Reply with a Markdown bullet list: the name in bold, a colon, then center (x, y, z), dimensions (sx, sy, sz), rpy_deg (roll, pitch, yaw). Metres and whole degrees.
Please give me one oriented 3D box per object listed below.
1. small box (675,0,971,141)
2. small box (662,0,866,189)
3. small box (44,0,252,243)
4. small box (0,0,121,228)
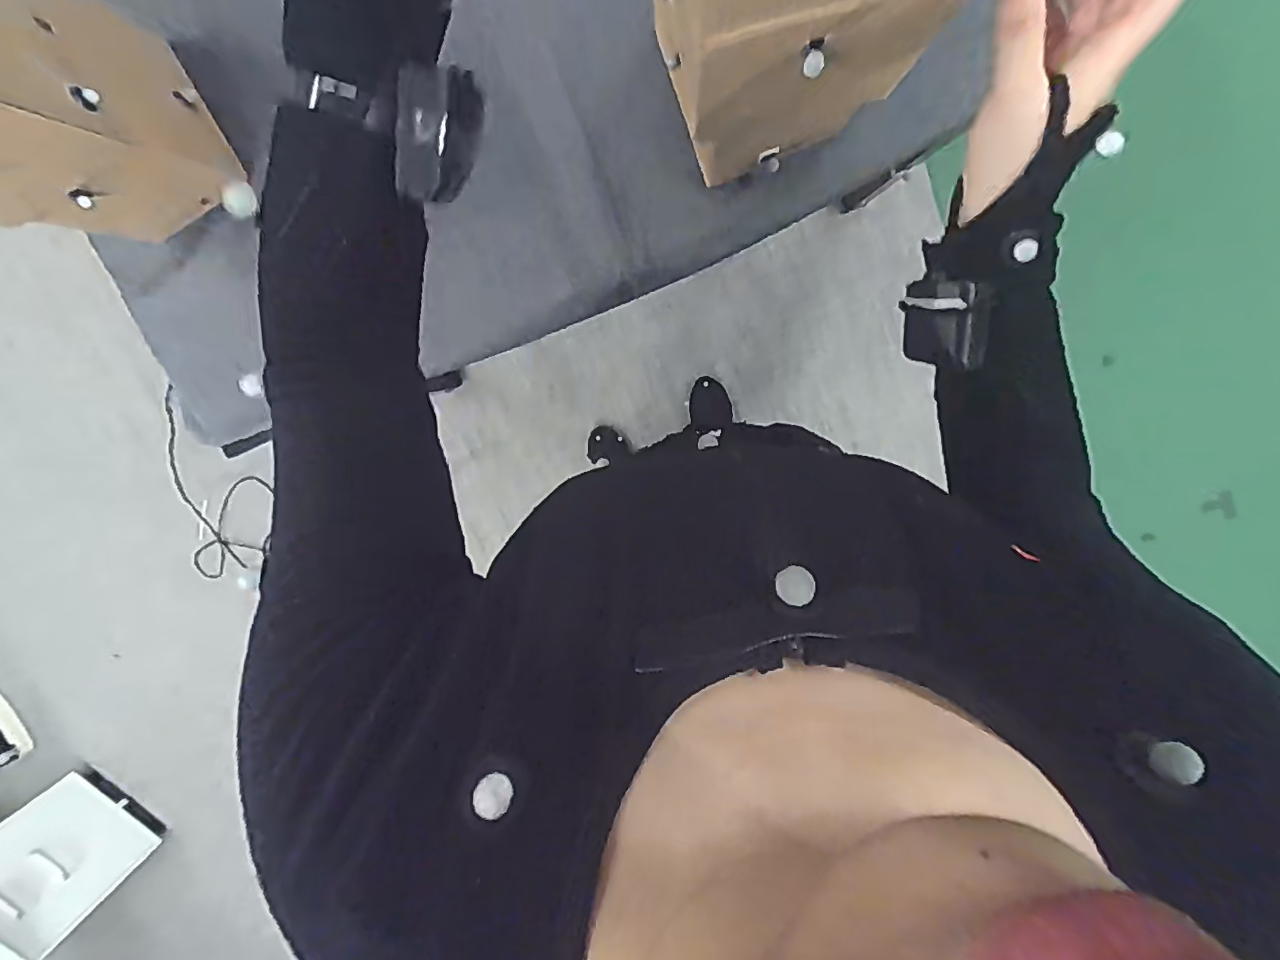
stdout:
- **small box**: center (0.114, -0.378, 0.389), dimensions (0.179, 0.176, 0.168), rpy_deg (-9, 103, 9)
- **small box**: center (0.123, -0.430, 0.542), dimensions (0.168, 0.176, 0.179), rpy_deg (-20, 102, 11)
- **small box**: center (-0.608, -0.400, 0.615), dimensions (0.168, 0.176, 0.179), rpy_deg (-25, 102, 10)
- **small box**: center (-0.612, -0.342, 0.460), dimensions (0.179, 0.176, 0.168), rpy_deg (-24, 103, 11)
